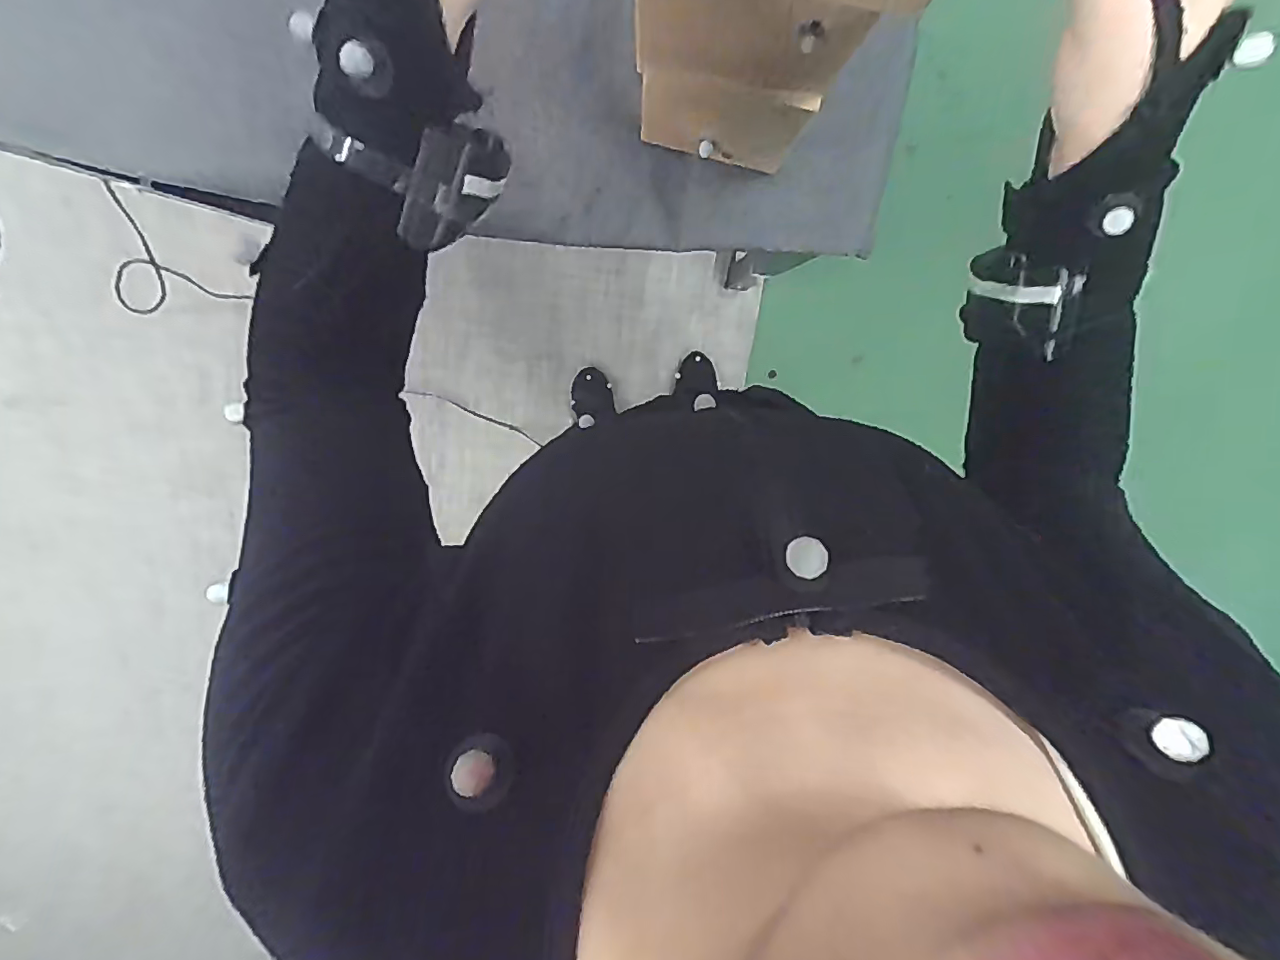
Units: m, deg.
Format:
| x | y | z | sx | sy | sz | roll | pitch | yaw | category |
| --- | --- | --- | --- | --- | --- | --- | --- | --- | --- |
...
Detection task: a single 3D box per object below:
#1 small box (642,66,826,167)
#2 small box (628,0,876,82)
| x | y | z | sx | sy | sz | roll | pitch | yaw | category |
| --- | --- | --- | --- | --- | --- | --- | --- | --- | --- |
| 0.097 | -0.448 | 0.536 | 0.168 | 0.176 | 0.179 | 13 | 103 | -2 | small box |
| 0.085 | -0.414 | 0.378 | 0.179 | 0.176 | 0.168 | 5 | 101 | 1 | small box |
